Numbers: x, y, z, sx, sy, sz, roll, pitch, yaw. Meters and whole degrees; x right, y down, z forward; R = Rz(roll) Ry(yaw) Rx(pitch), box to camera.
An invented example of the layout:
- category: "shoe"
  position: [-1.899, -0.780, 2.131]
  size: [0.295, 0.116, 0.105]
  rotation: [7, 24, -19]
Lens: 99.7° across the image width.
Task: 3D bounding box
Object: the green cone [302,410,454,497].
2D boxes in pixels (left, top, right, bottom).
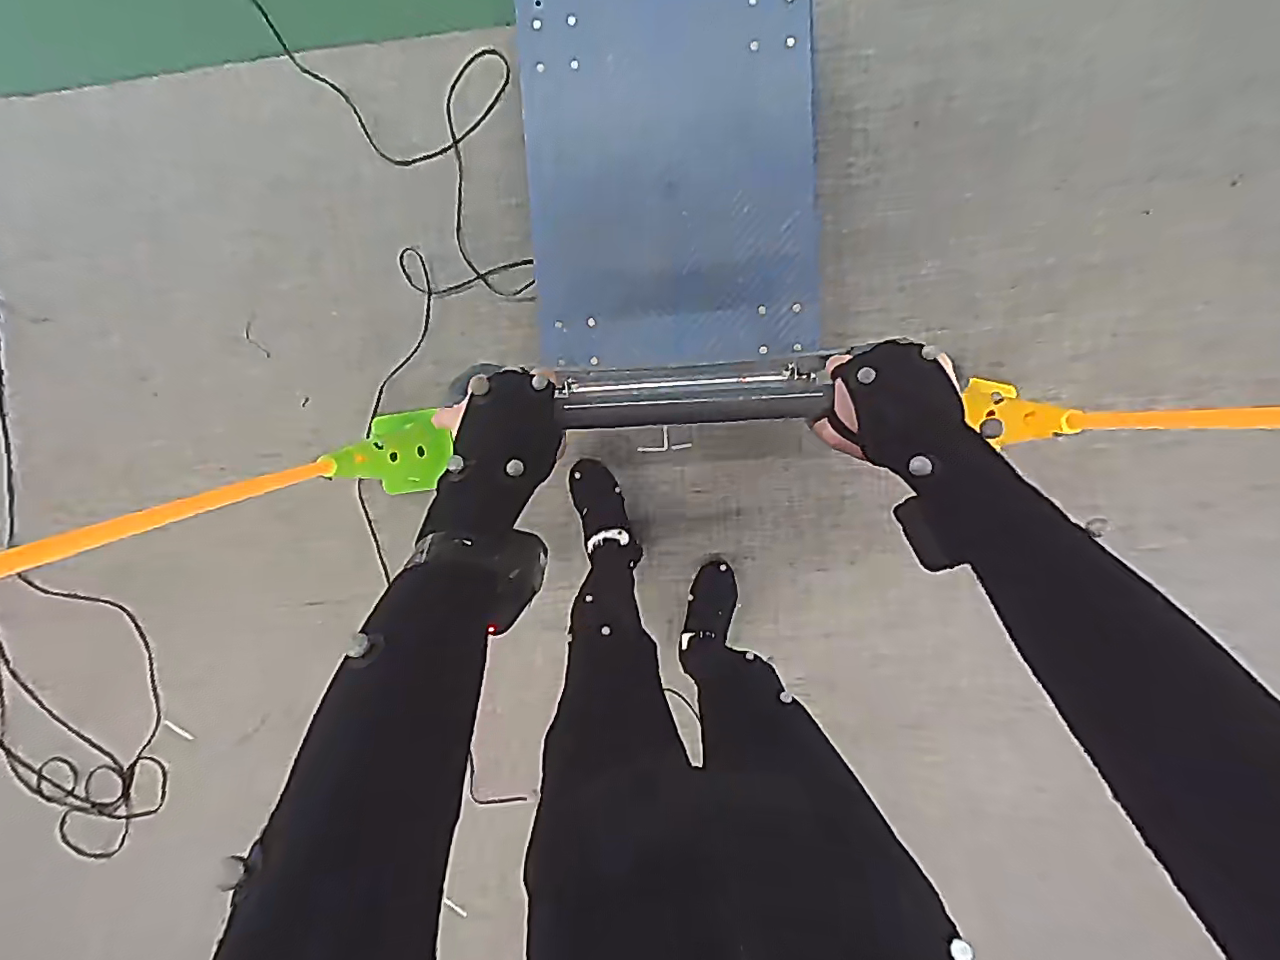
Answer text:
- category: "green cone"
  position: [-0.587, -0.047, 1.176]
  size: [0.202, 0.368, 0.200]
  rotation: [-8, 96, 6]
